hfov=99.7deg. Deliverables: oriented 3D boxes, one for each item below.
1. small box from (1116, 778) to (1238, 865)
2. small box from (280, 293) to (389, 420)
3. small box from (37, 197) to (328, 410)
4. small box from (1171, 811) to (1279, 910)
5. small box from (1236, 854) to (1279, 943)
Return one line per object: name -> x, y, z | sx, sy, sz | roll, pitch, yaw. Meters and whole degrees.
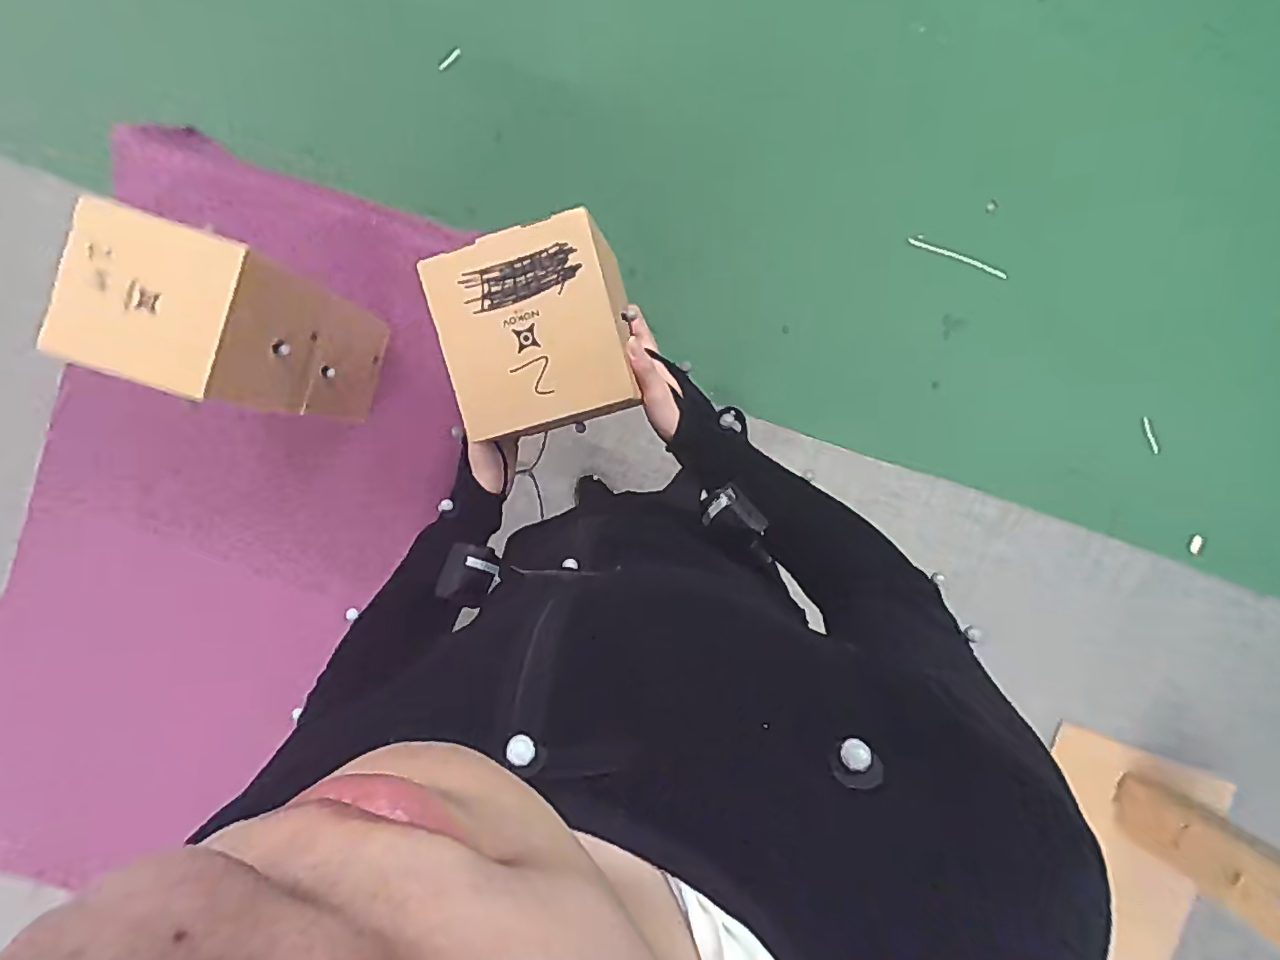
small box -> 1.586, 1.018, 1.606 | 0.179, 0.176, 0.168 | 12, 91, -2
small box -> -0.506, -0.190, 0.790 | 0.179, 0.176, 0.168 | 16, 92, -1
small box -> -0.503, -0.184, 0.624 | 0.179, 0.176, 0.168 | 18, 91, -1
small box -> 1.591, 1.023, 1.442 | 0.179, 0.176, 0.168 | 15, 91, -3
small box -> 1.596, 1.033, 1.281 | 0.179, 0.176, 0.168 | 16, 91, -3
